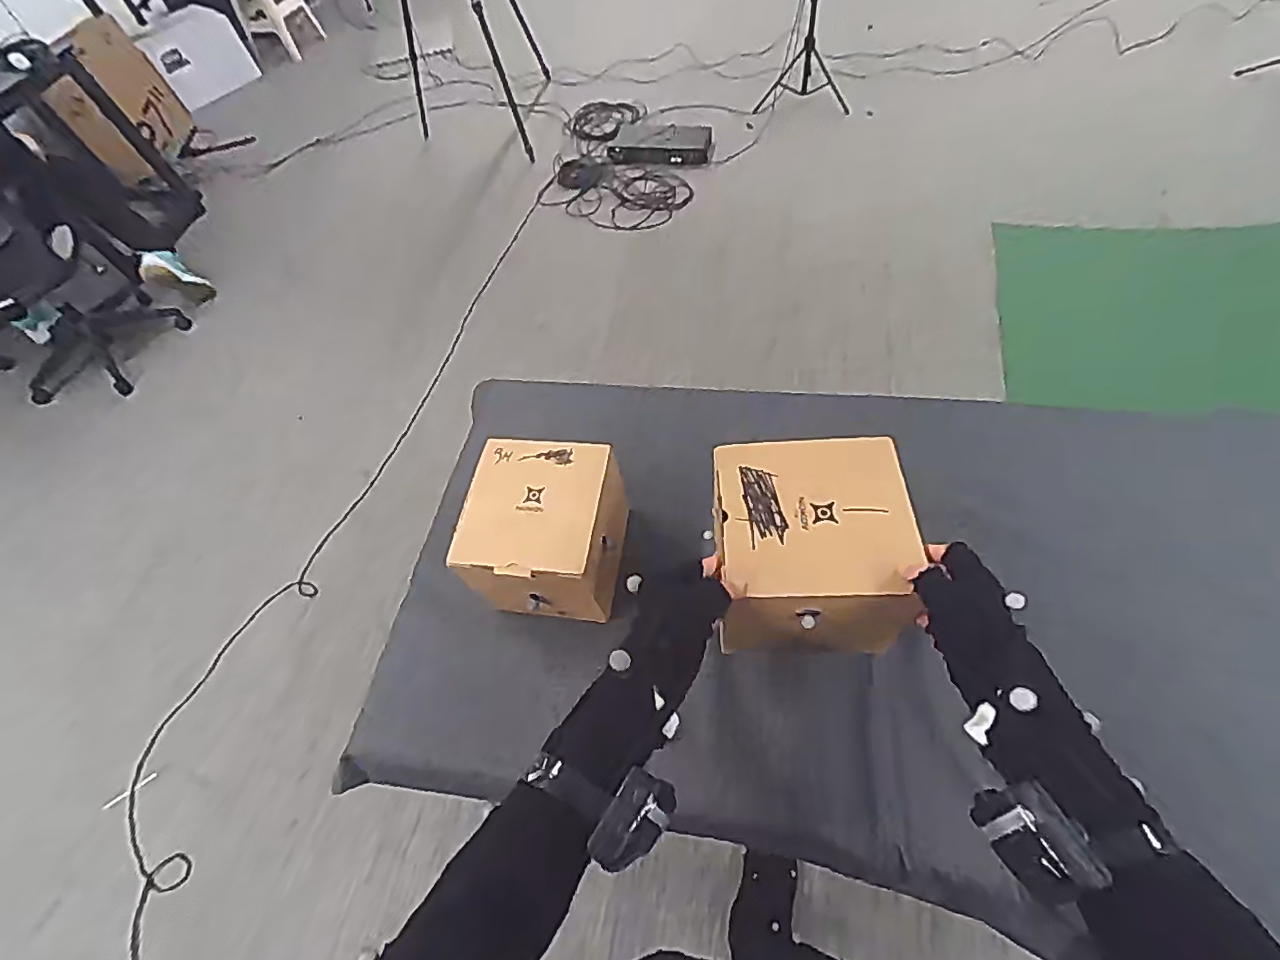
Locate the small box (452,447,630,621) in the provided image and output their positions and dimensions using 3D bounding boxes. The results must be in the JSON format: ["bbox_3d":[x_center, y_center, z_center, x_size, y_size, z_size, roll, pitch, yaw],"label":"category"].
[{"bbox_3d":[-0.115,0.076,0.716,0.168,0.176,0.179,3,60,12],"label":"small box"}]

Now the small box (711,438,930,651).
[{"bbox_3d":[0.170,0.076,0.572,0.179,0.176,0.168,-4,56,6],"label":"small box"}]
